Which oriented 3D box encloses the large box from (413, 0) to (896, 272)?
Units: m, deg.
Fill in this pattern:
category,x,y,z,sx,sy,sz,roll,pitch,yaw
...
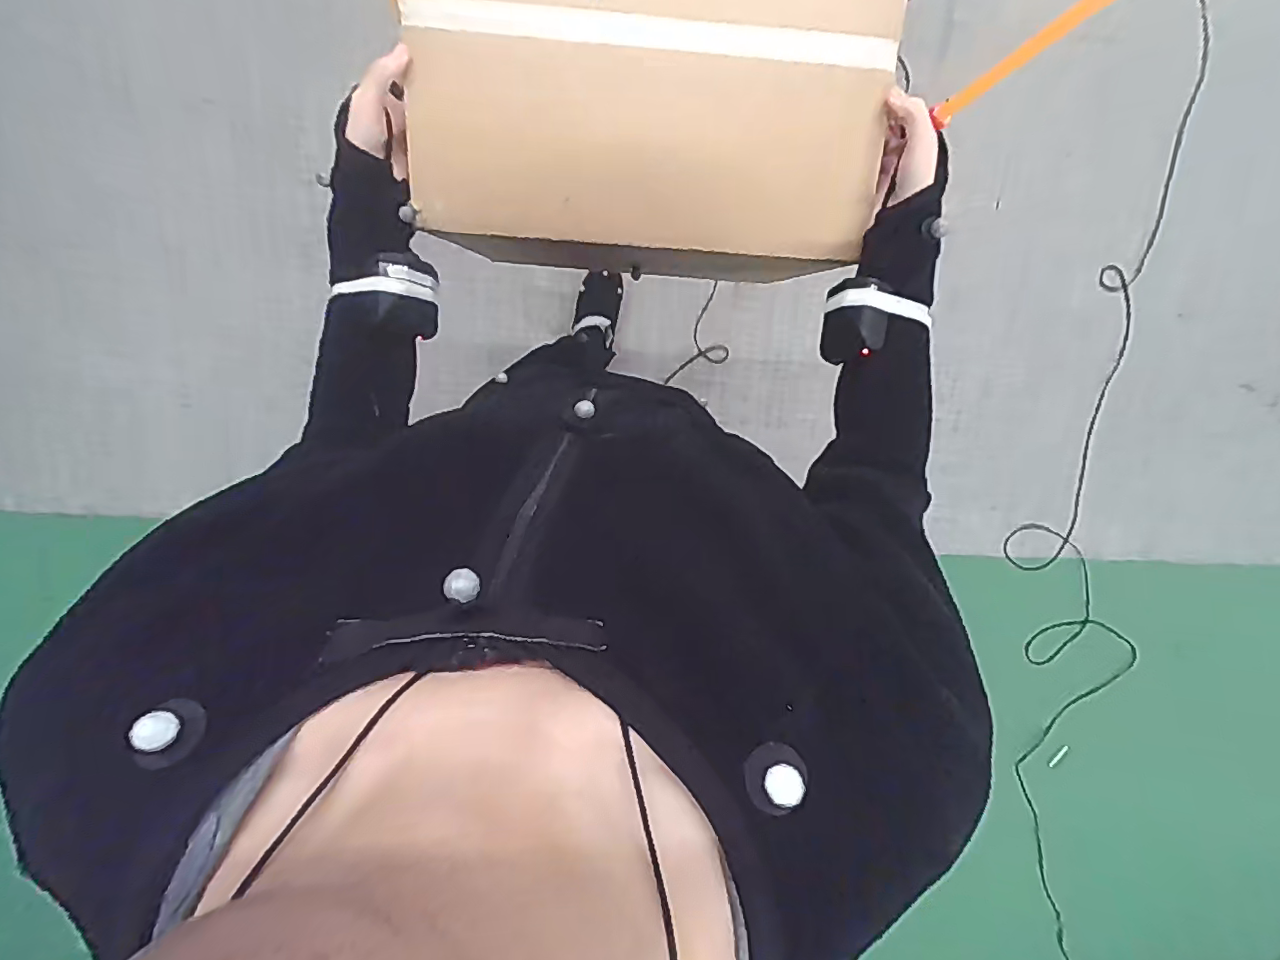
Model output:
category,x,y,z,sx,sy,sz,roll,pitch,yaw
large box,0.009,-0.408,0.593,0.408,0.320,0.320,3,106,-3
